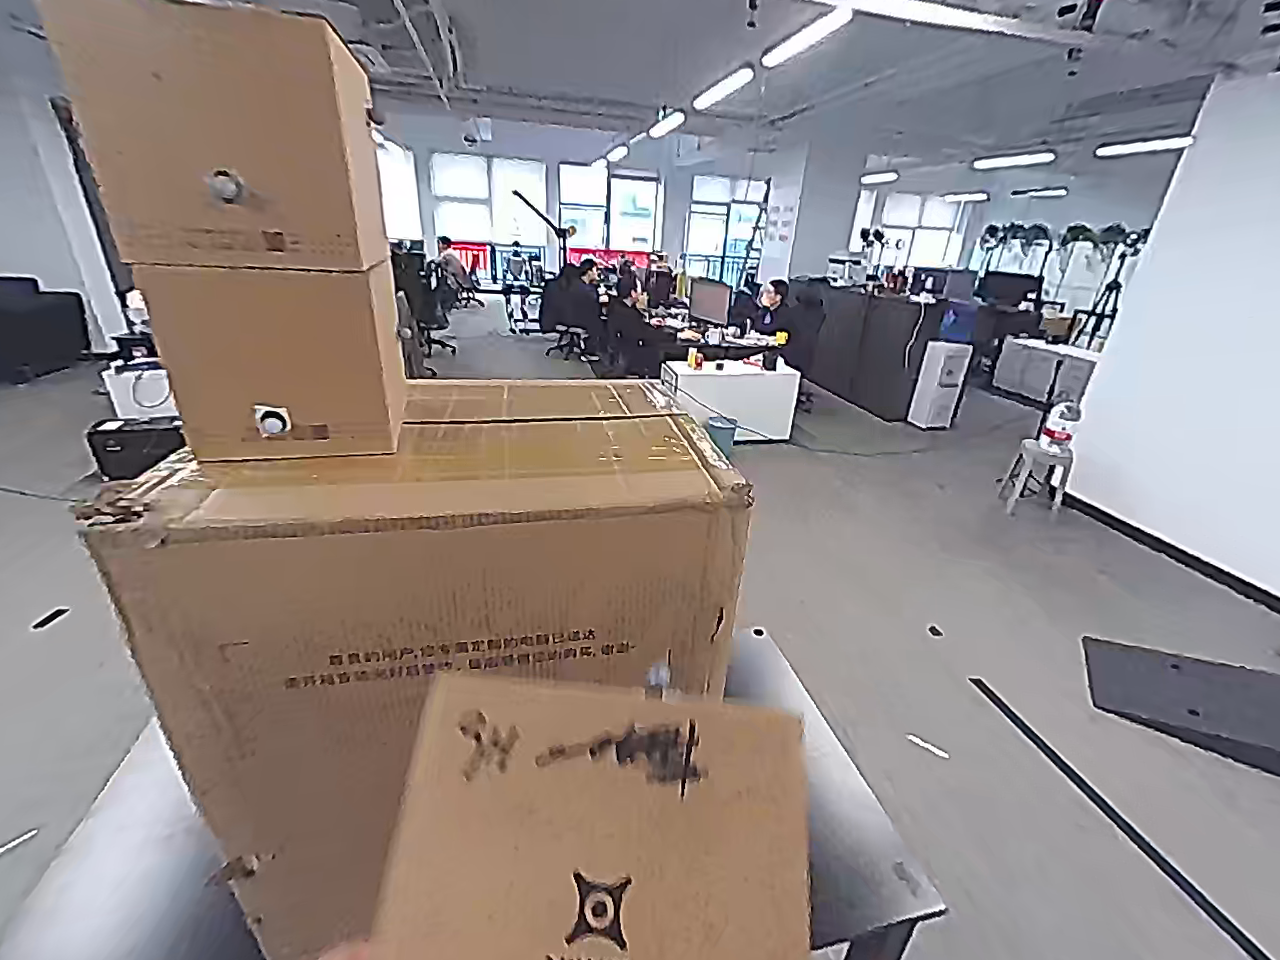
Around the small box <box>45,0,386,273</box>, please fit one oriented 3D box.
[{"bbox_3d":[-0.322,-0.275,0.458,0.168,0.176,0.179,-4,27,-15],"label":"small box"}]

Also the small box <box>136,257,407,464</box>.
[{"bbox_3d":[-0.330,-0.127,0.531,0.168,0.176,0.179,-5,28,-17],"label":"small box"}]
